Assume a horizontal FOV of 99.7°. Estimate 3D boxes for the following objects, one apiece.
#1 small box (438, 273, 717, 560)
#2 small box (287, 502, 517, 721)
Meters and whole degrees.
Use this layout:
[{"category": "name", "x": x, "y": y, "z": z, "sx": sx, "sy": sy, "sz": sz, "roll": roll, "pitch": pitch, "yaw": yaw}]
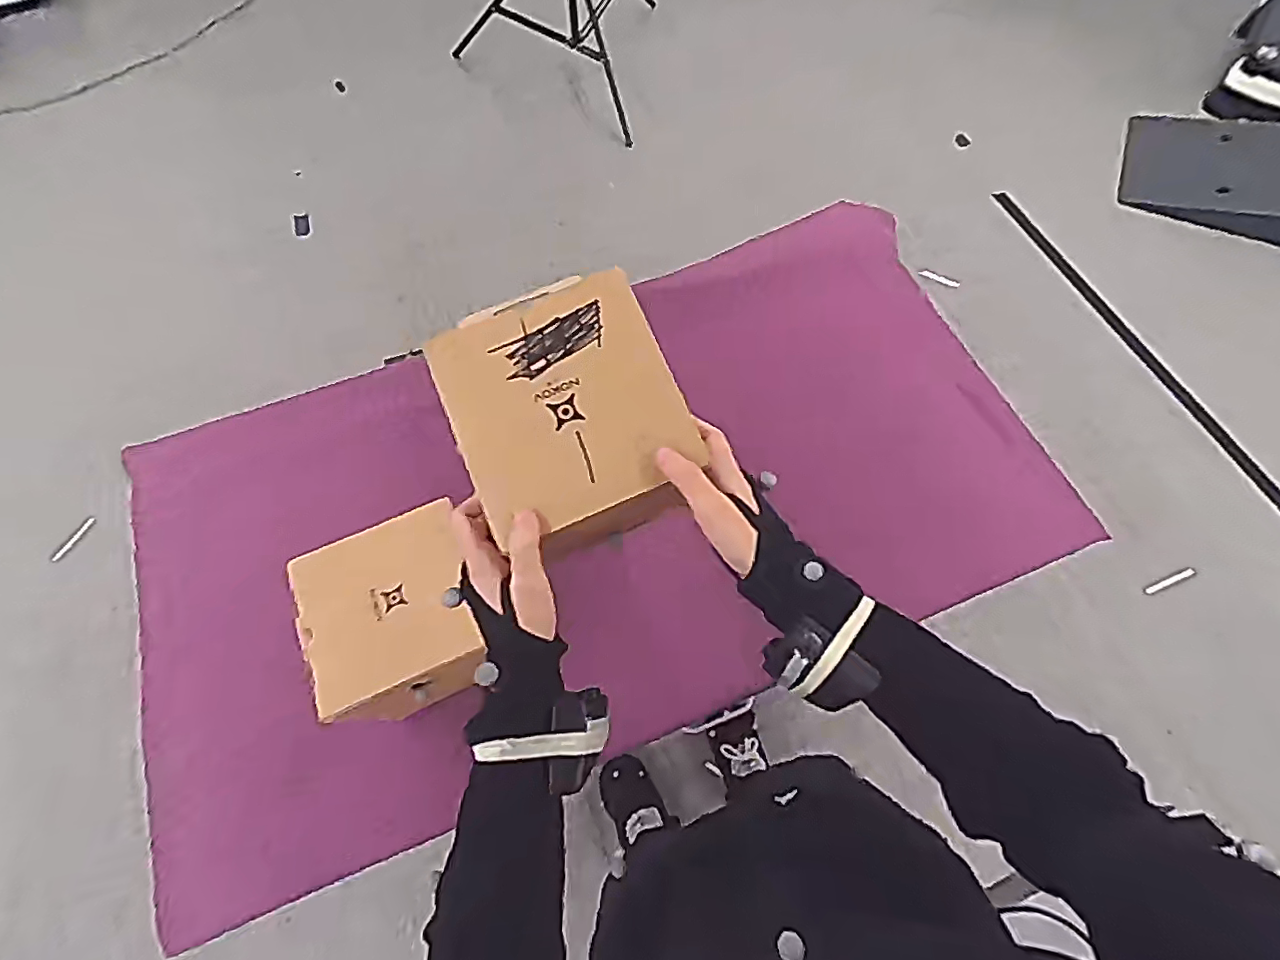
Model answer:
[{"category": "small box", "x": -0.048, "y": -0.041, "z": 0.483, "sx": 0.168, "sy": 0.176, "sz": 0.179, "roll": -23, "pitch": 79, "yaw": -3}, {"category": "small box", "x": -0.252, "y": 0.152, "z": 0.615, "sx": 0.179, "sy": 0.176, "sz": 0.168, "roll": -24, "pitch": 69, "yaw": -9}]
